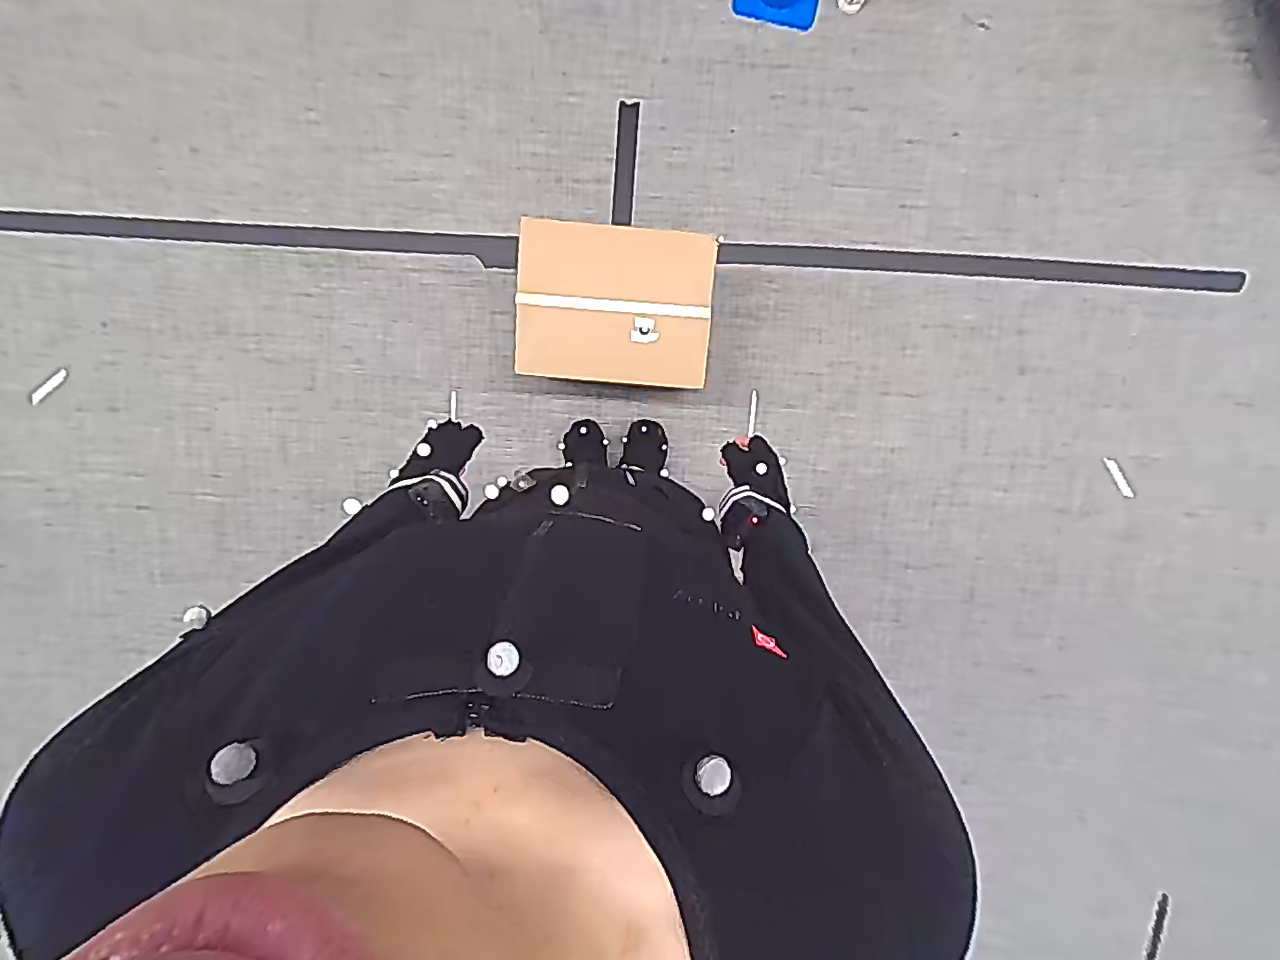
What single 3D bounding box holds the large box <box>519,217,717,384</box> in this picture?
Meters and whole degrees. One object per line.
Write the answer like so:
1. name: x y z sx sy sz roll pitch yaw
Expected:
1. large box: -0.054 -0.392 1.264 0.408 0.320 0.320 4 100 -2
